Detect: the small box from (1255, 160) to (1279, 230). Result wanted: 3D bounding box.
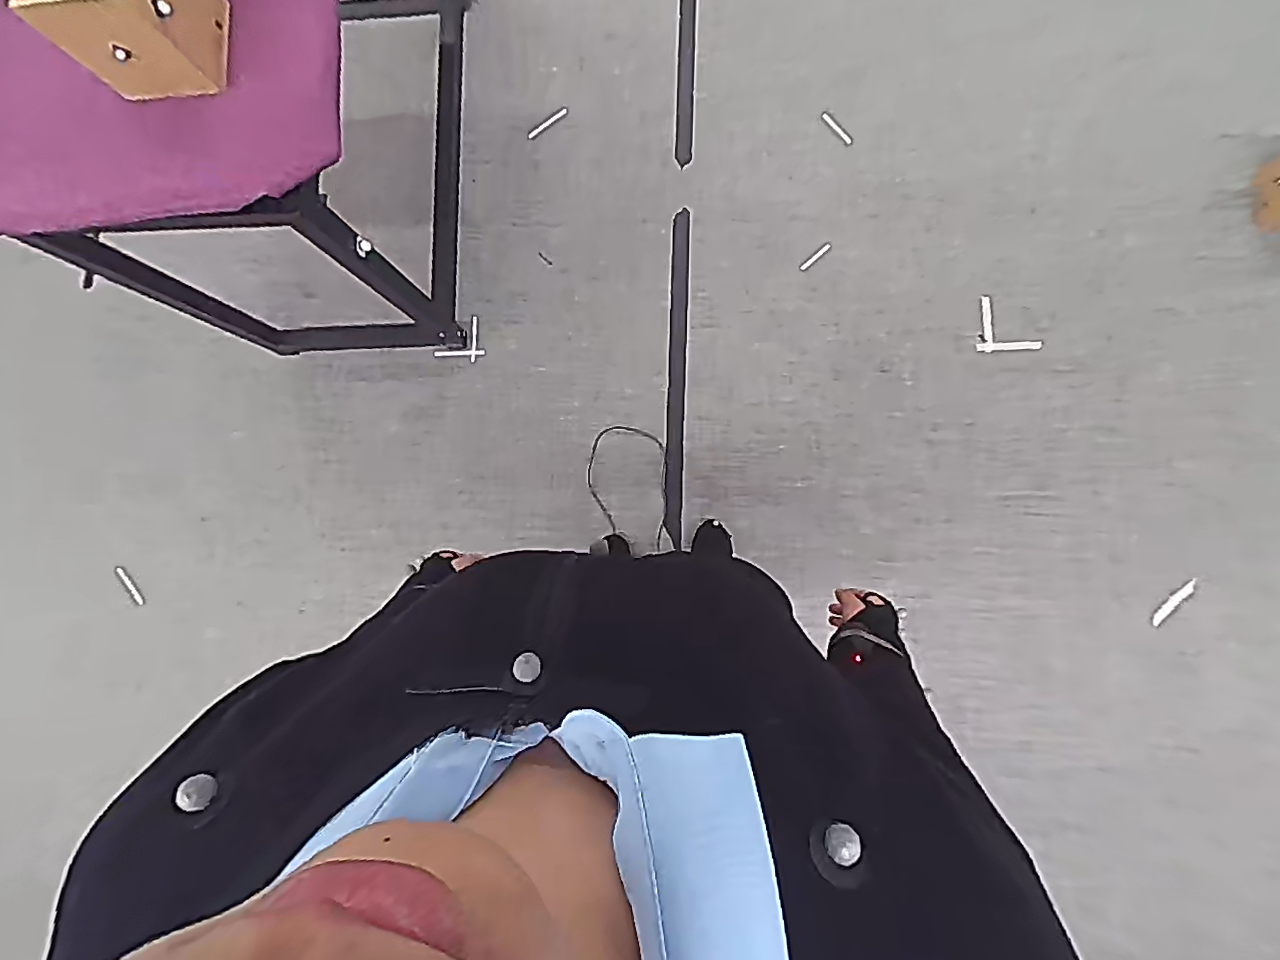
[{"bbox_3d":[1.770,-0.769,1.404,0.179,0.176,0.168,3,85,4],"label":"small box"}]
